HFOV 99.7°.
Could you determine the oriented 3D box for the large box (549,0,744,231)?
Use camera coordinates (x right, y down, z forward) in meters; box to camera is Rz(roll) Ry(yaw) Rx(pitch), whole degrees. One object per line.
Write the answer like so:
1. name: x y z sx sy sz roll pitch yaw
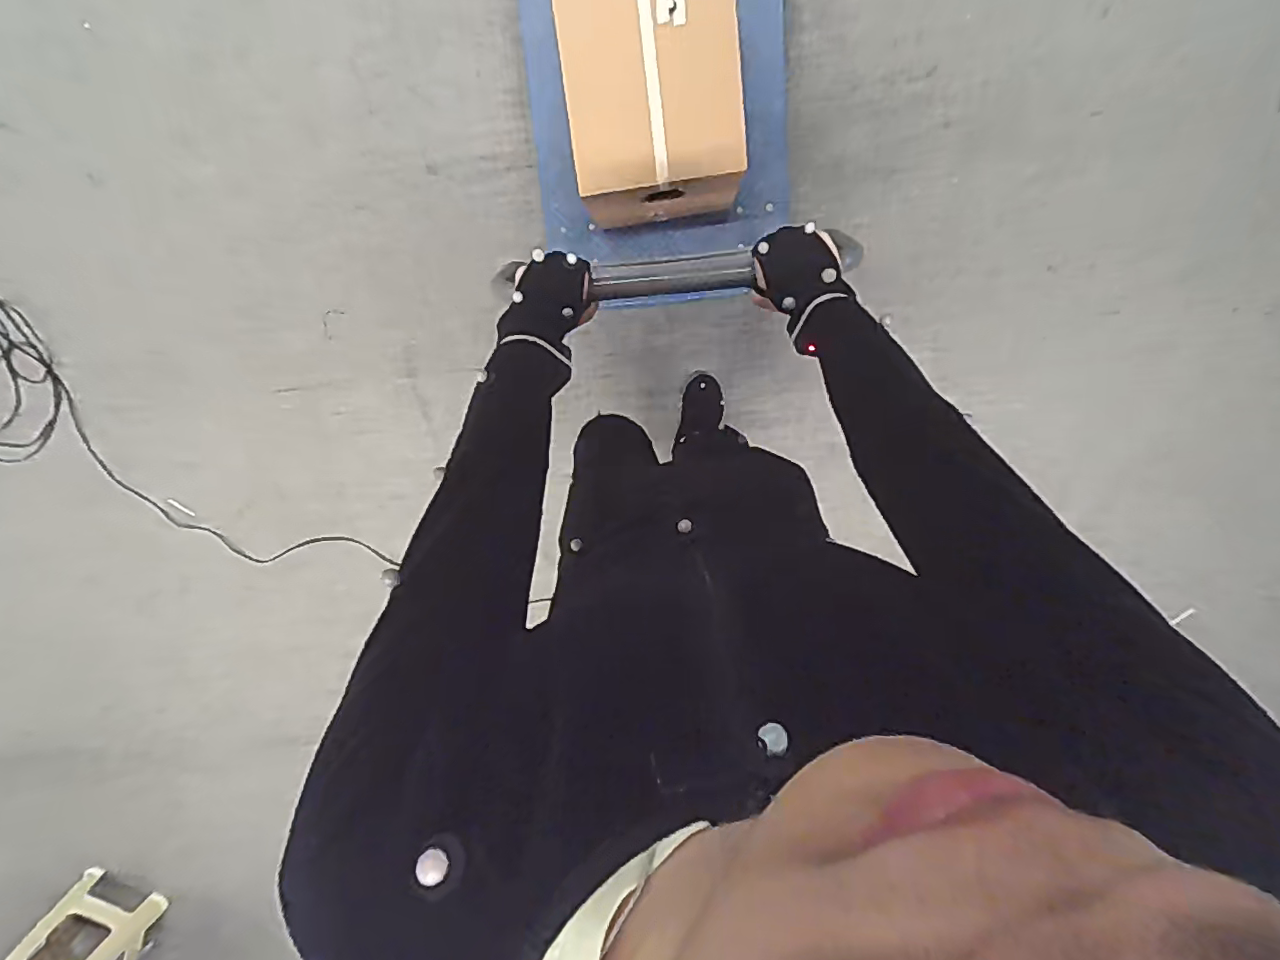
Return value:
1. large box: 0.023 -0.771 1.100 0.320 0.320 0.408 -6 104 5
